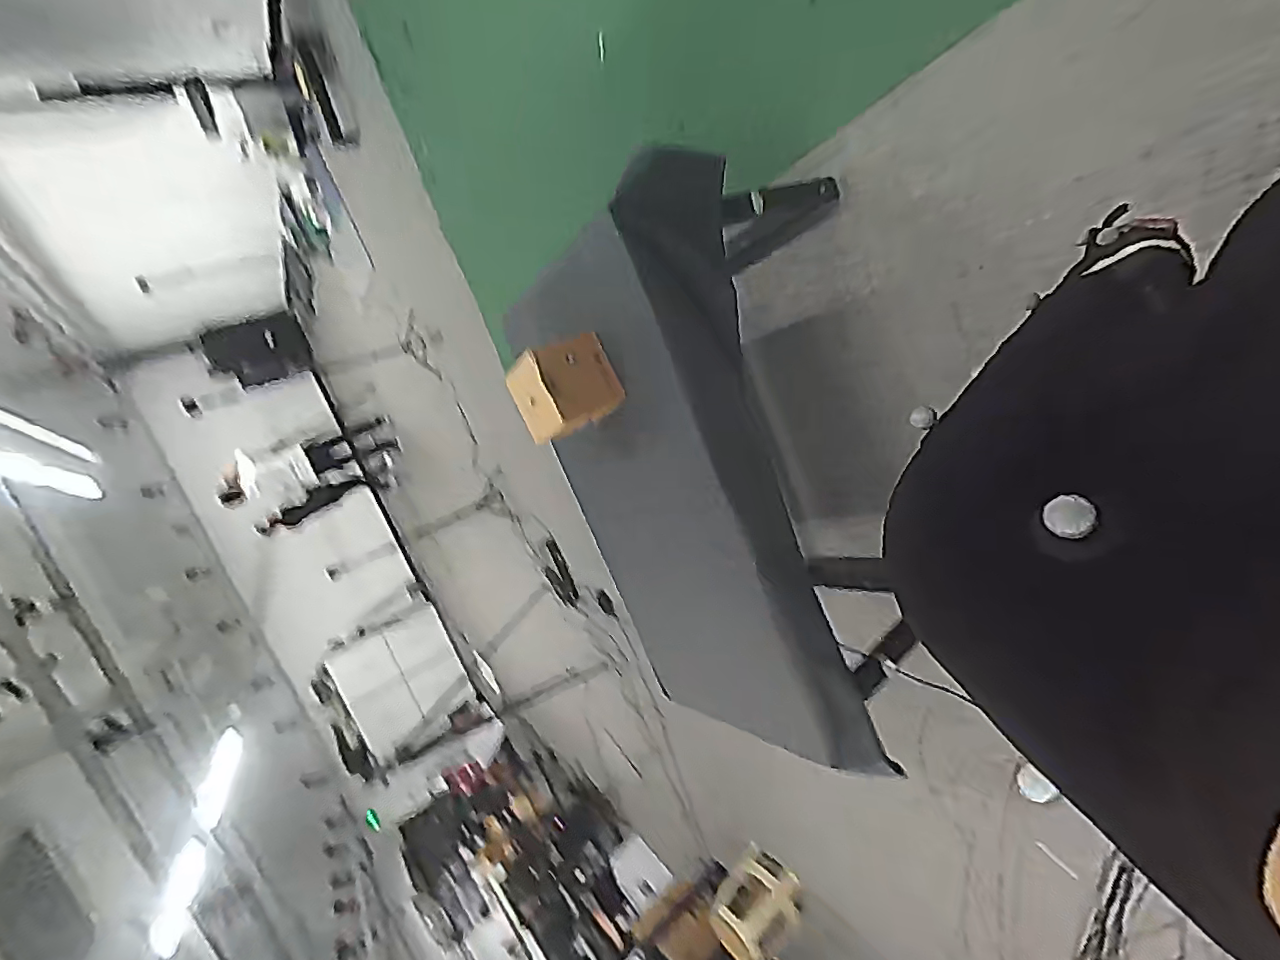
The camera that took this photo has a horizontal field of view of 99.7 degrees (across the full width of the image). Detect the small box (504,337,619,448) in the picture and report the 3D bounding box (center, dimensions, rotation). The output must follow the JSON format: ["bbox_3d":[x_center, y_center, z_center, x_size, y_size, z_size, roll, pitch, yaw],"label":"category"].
[{"bbox_3d":[-0.168,-0.193,1.188,0.179,0.176,0.168,-24,92,59],"label":"small box"}]
